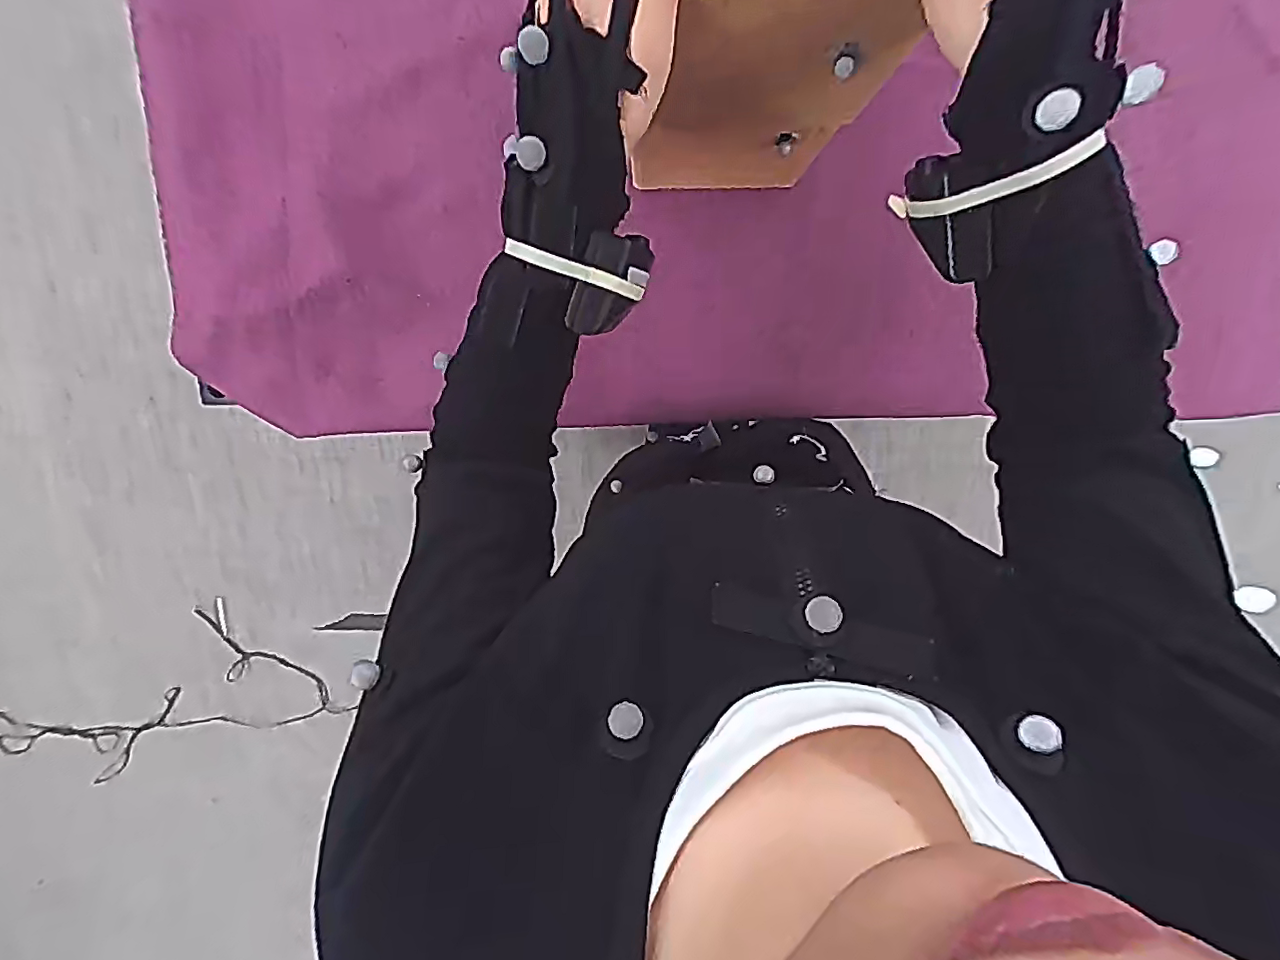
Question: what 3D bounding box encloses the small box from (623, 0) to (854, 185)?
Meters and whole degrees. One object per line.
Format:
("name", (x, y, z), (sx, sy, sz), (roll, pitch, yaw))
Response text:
("small box", (0.077, -0.380, 0.485), (0.179, 0.176, 0.168), (-1, 102, 1))
